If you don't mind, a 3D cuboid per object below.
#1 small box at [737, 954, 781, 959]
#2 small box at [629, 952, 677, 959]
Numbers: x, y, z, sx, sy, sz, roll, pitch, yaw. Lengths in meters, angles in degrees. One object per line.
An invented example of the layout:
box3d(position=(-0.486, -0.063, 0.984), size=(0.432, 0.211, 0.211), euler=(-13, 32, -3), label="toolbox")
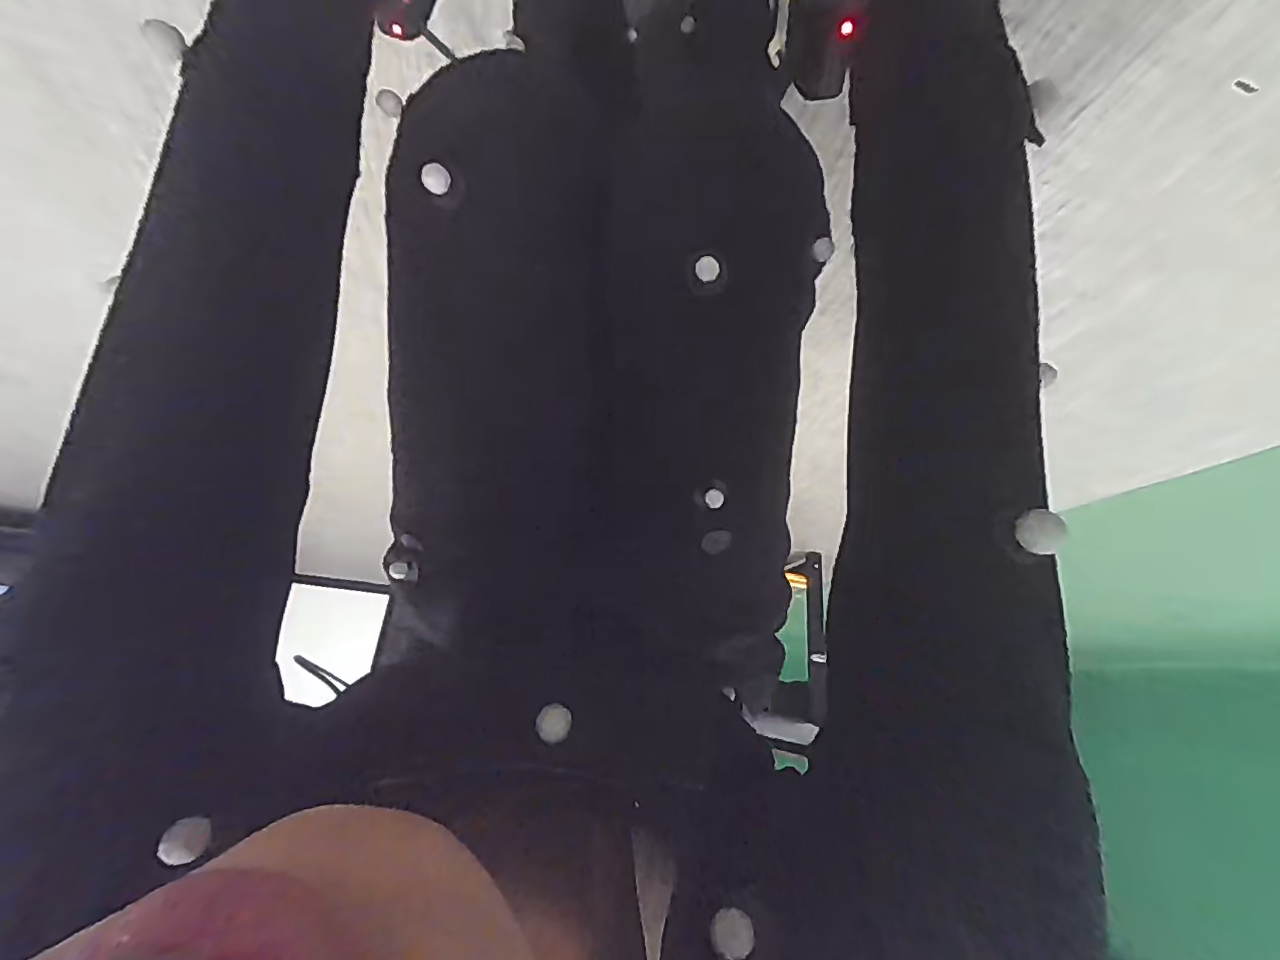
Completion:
box3d(position=(0.430, 1.752, 1.838), size=(0.168, 0.176, 0.179), euler=(11, 158, -9), label="small box")
box3d(position=(0.048, 1.675, 1.754), size=(0.168, 0.176, 0.179), euler=(9, 159, -8), label="small box")
